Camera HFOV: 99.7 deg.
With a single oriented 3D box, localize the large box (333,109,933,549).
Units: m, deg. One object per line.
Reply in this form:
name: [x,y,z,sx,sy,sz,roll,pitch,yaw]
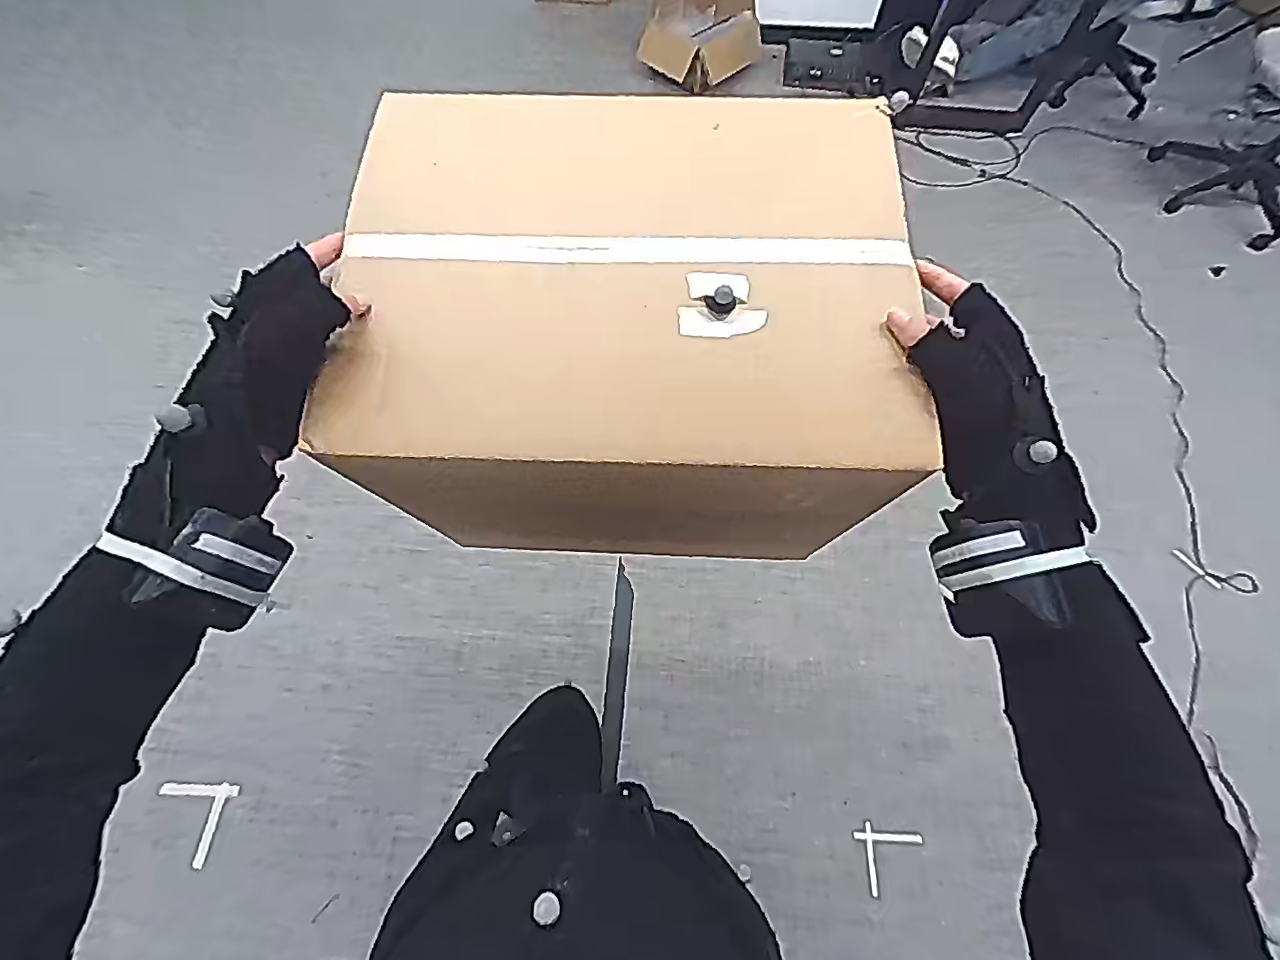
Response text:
large box: [-0.004,-0.114,0.541,0.408,0.320,0.320,2,72,1]
